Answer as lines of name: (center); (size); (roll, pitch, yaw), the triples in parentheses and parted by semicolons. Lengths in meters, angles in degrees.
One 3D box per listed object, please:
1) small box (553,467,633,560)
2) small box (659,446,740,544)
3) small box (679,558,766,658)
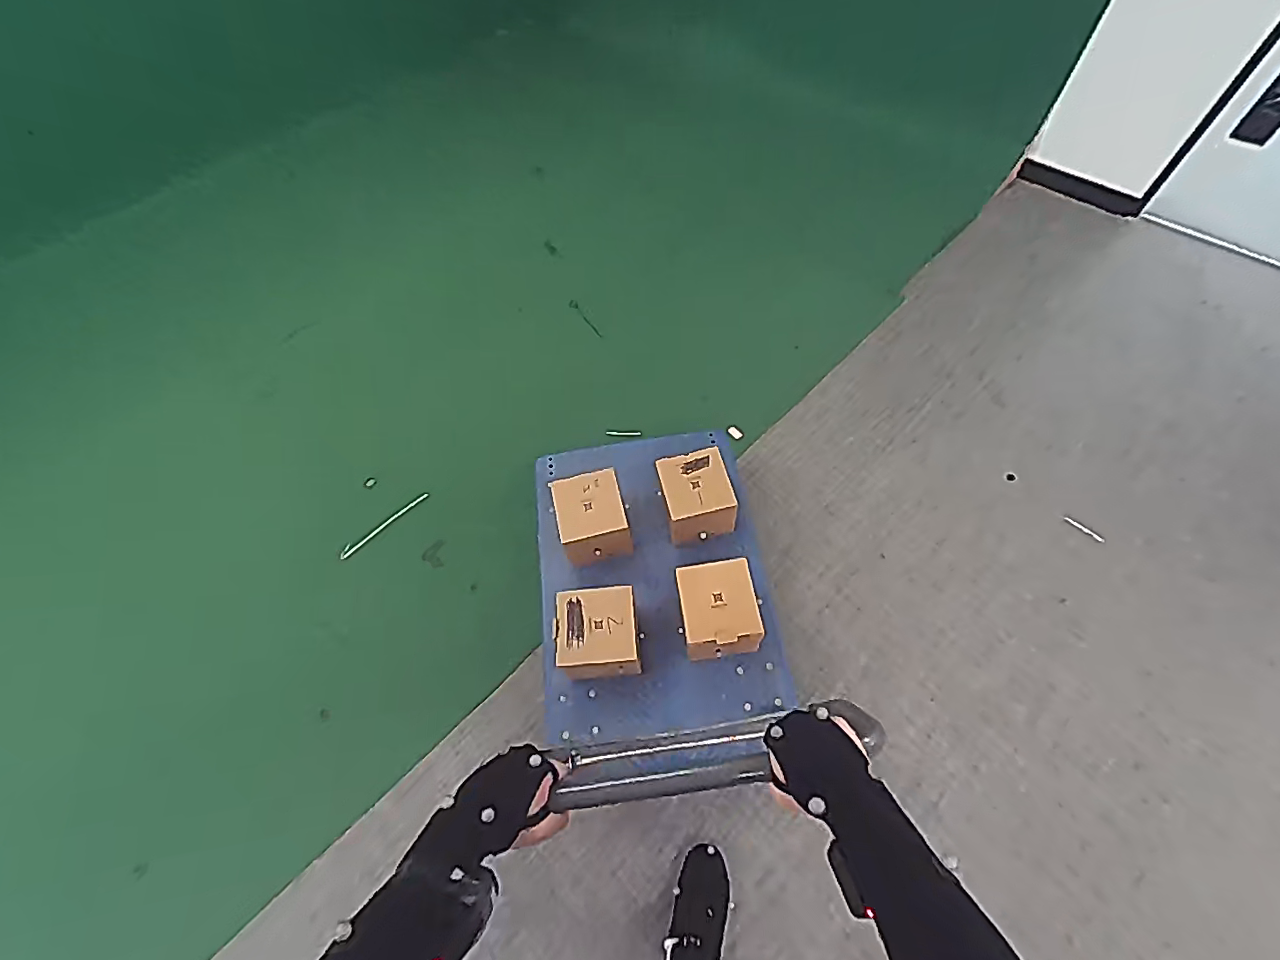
small box: (-0.116, 0.095, 1.389); (0.168, 0.176, 0.179); (-13, 61, -3)
small box: (0.148, 0.042, 1.398); (0.168, 0.176, 0.179); (-13, 62, -2)
small box: (0.182, 0.300, 1.254); (0.168, 0.176, 0.179); (-9, 61, 0)
